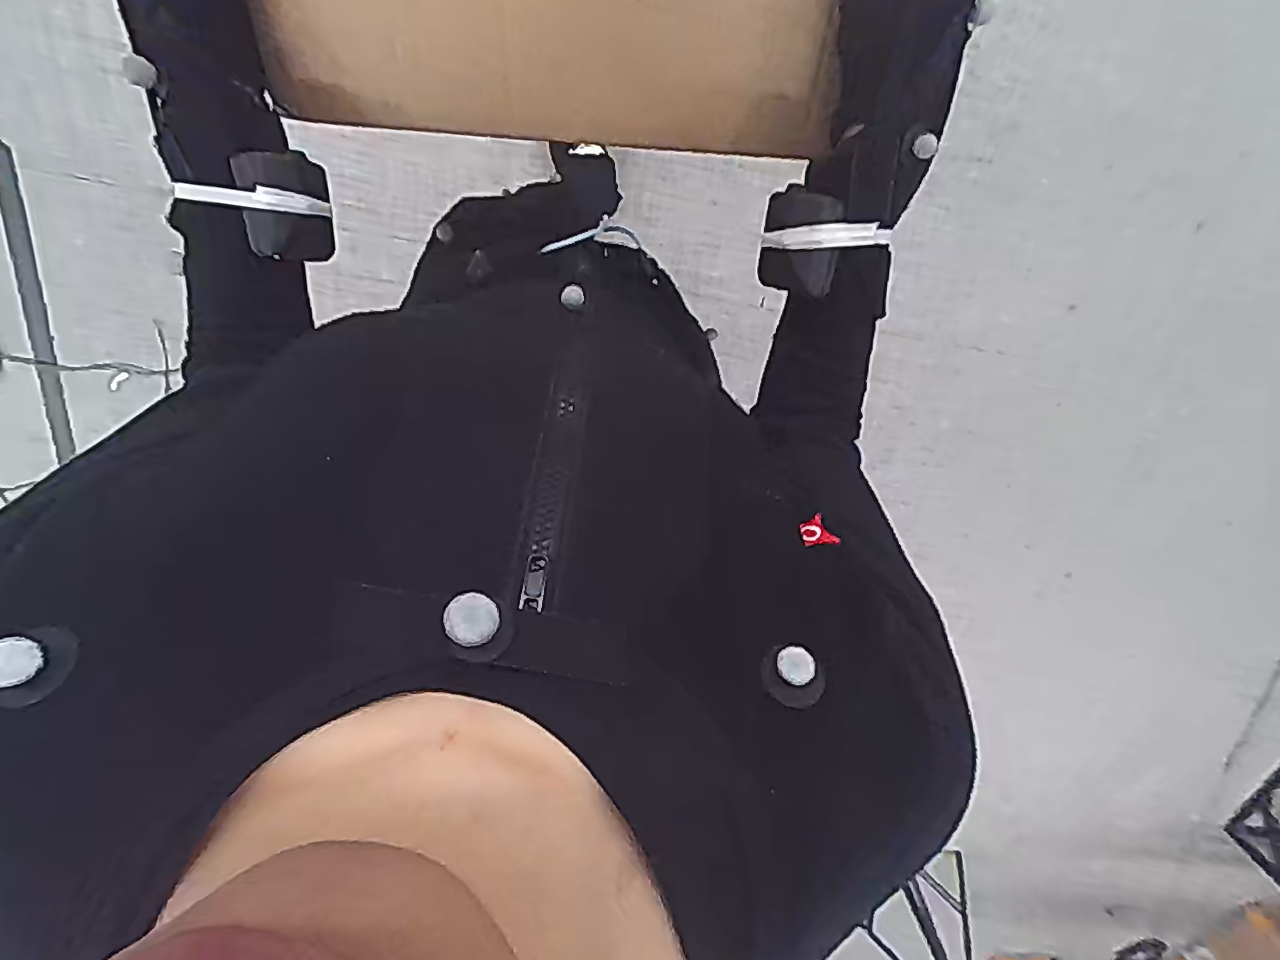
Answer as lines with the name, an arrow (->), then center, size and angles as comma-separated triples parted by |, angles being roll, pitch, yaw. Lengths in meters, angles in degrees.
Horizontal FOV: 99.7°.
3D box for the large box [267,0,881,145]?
large box -> -0.038, -0.469, 0.402 | 0.408, 0.320, 0.320 | 3, 134, -1
